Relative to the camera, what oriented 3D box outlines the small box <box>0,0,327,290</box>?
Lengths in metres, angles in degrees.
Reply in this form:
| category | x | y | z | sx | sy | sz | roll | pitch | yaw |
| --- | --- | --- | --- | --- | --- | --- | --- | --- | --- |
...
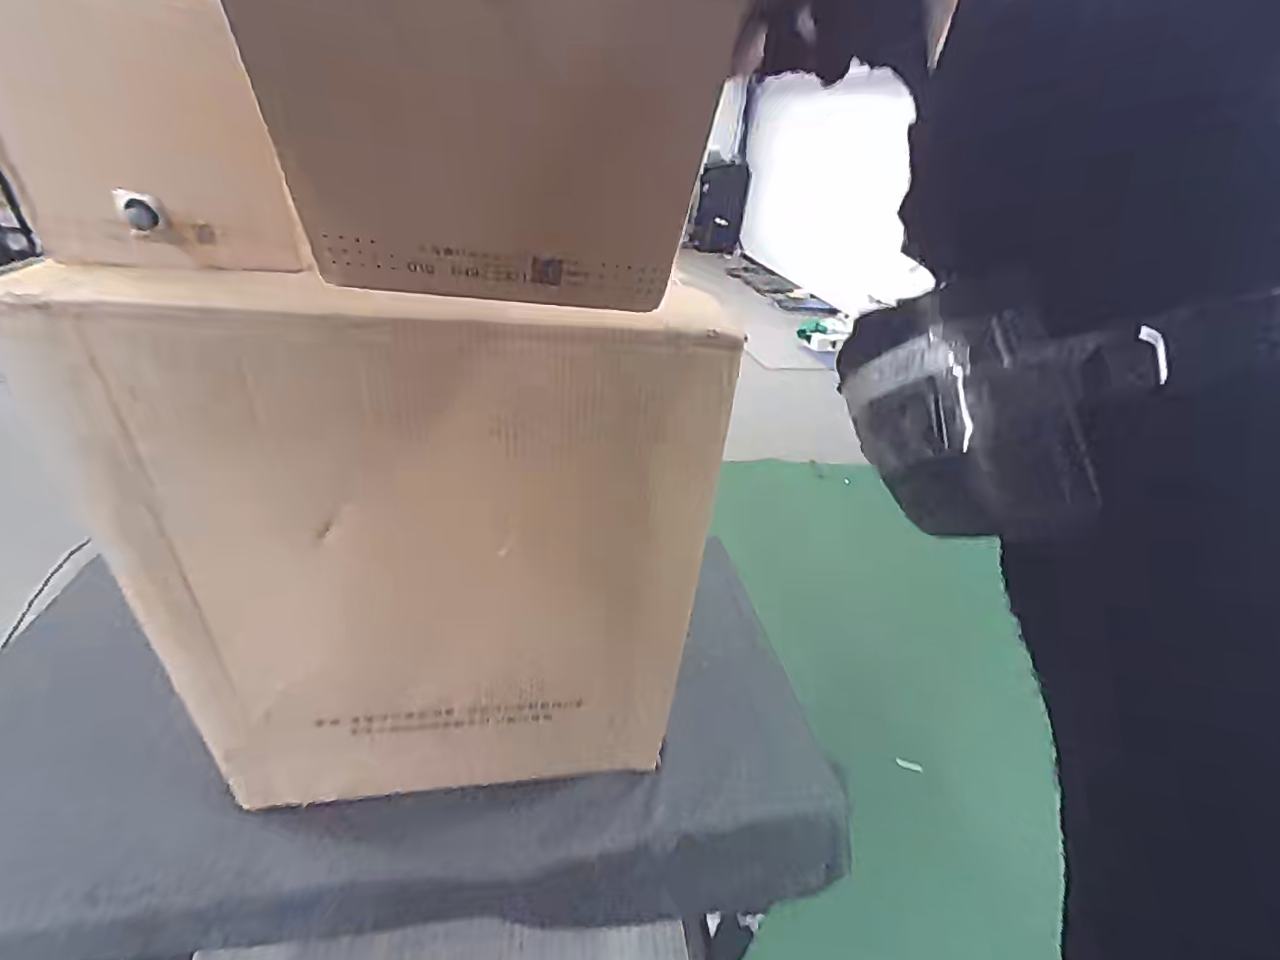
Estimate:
| category | x | y | z | sx | sy | sz | roll | pitch | yaw |
| --- | --- | --- | --- | --- | --- | --- | --- | --- | --- |
| small box | -0.360 | -0.263 | 0.437 | 0.168 | 0.176 | 0.179 | -6 | 37 | -13 |

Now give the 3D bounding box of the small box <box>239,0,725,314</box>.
| category | x | y | z | sx | sy | sz | roll | pitch | yaw |
| --- | --- | --- | --- | --- | --- | --- | --- | --- | --- |
| small box | -0.069 | -0.207 | 0.254 | 0.168 | 0.176 | 0.179 | 0 | 57 | -12 |
